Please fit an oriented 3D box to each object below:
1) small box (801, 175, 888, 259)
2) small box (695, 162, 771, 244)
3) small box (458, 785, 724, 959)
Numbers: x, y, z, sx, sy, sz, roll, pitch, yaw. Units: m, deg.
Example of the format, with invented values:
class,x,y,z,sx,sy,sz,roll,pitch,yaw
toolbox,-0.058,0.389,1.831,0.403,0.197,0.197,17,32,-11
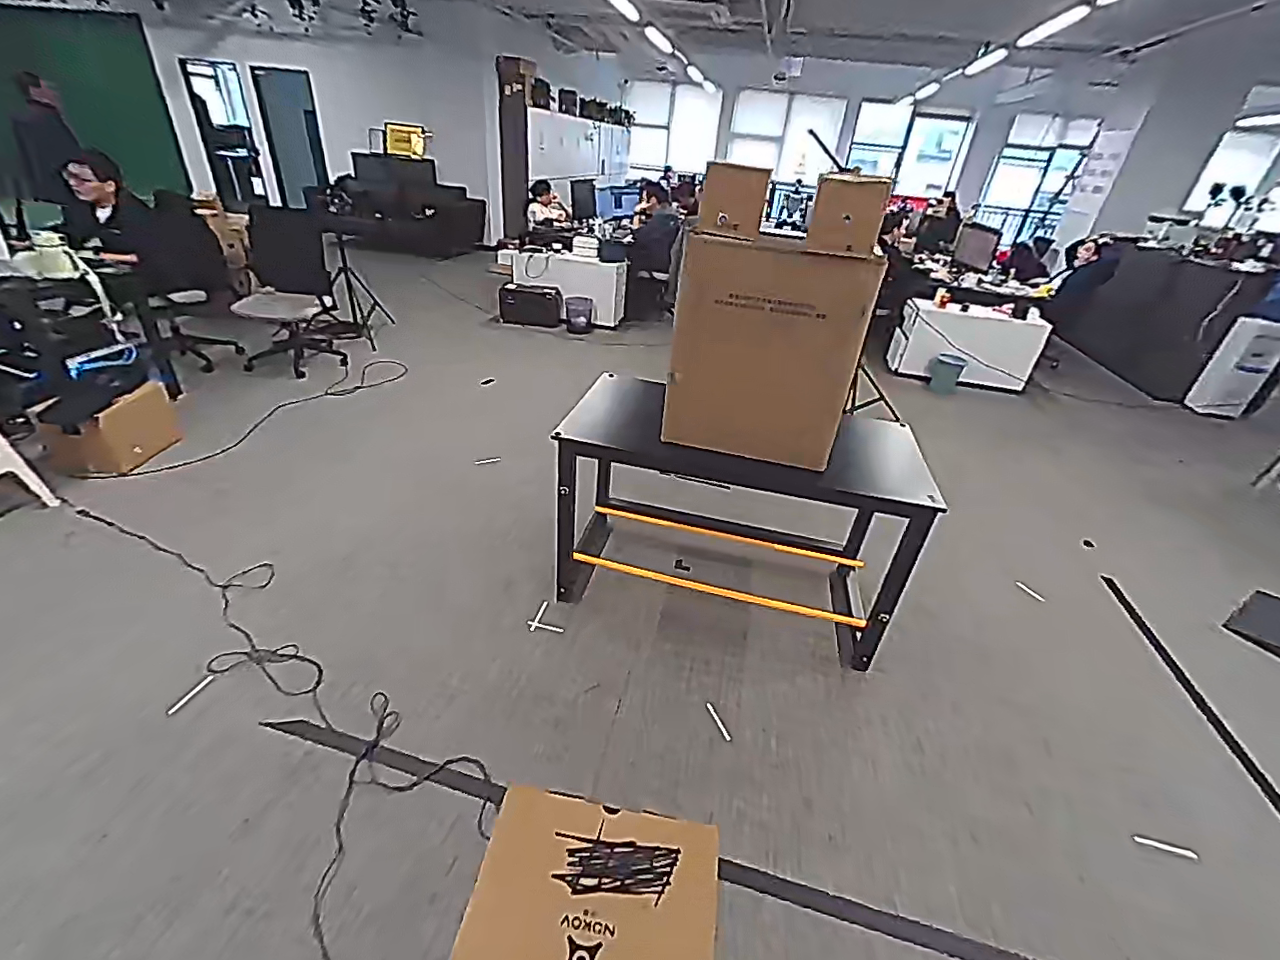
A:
class,x,y,z,sx,sy,sz,roll,pitch,yaw
small box,0.512,-0.668,1.373,0.168,0.176,0.179,10,34,10
small box,0.250,-0.749,1.458,0.168,0.176,0.179,12,33,8
small box,-0.037,0.364,0.391,0.168,0.176,0.179,8,34,5
